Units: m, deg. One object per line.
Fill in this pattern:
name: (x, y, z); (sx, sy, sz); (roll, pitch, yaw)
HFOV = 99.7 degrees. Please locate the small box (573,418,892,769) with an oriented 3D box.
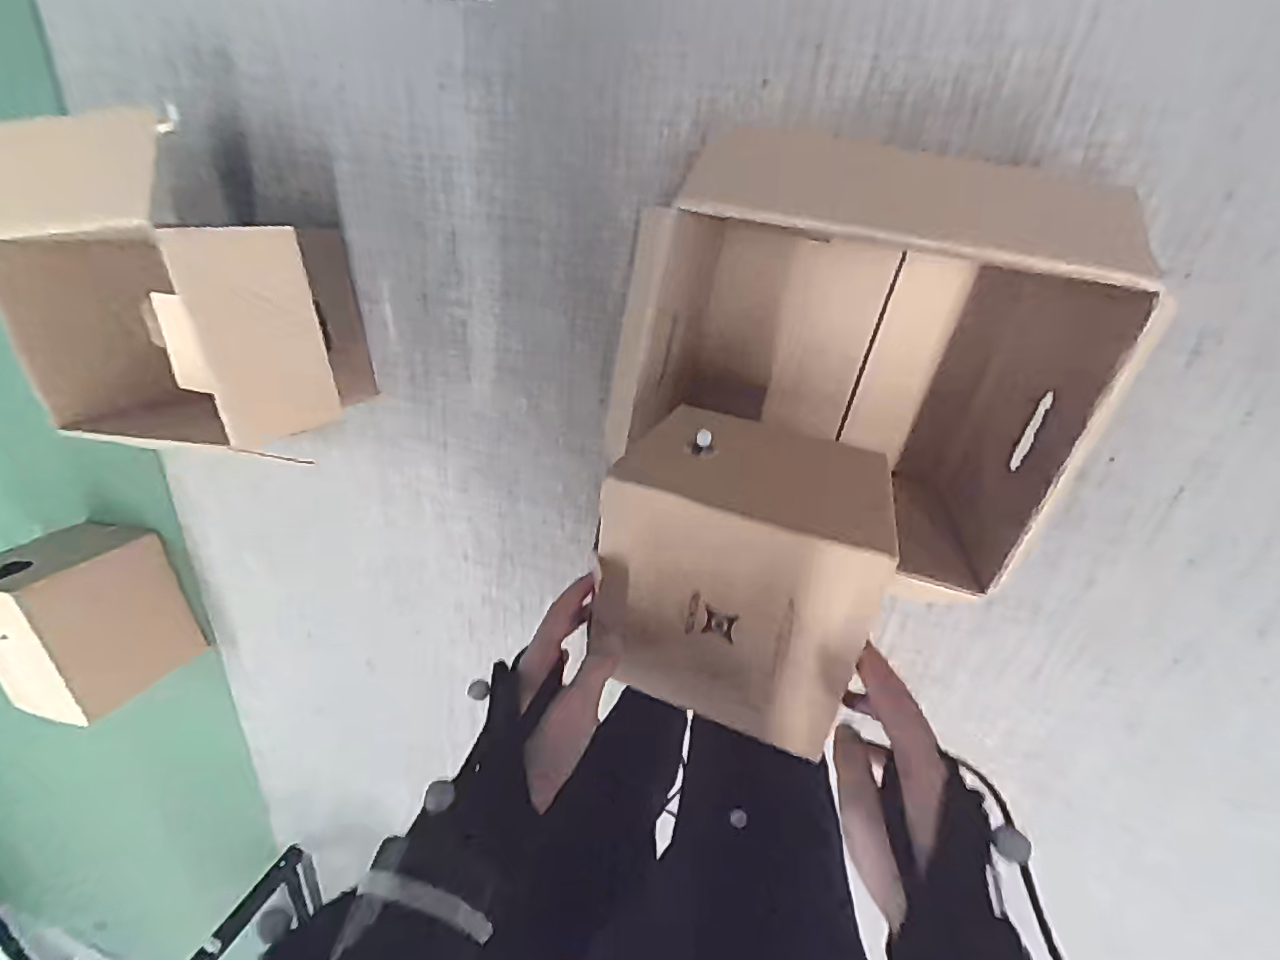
small box: (0.069, 0.063, 0.405); (0.179, 0.176, 0.168); (15, 118, 16)
